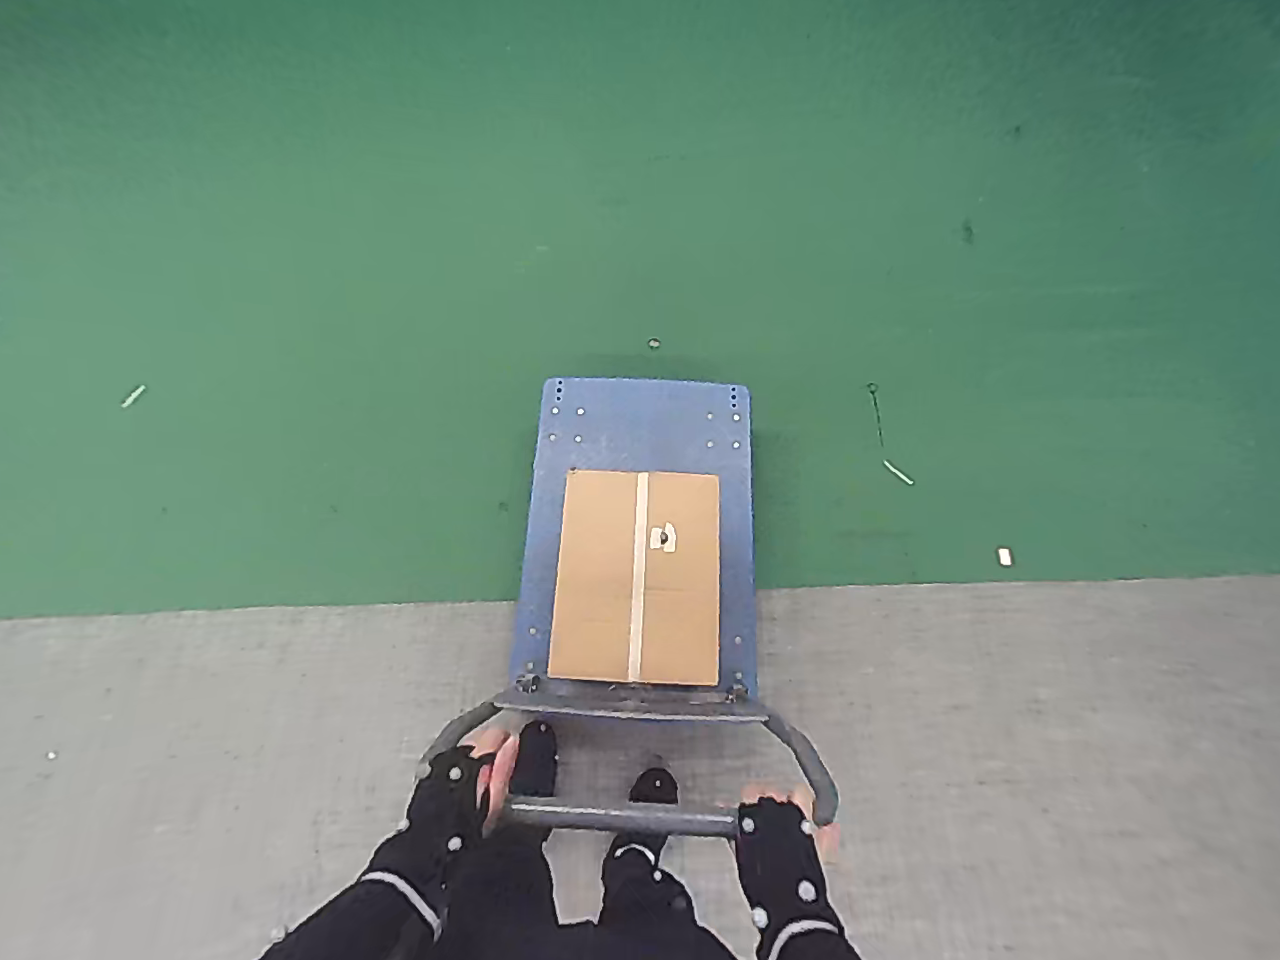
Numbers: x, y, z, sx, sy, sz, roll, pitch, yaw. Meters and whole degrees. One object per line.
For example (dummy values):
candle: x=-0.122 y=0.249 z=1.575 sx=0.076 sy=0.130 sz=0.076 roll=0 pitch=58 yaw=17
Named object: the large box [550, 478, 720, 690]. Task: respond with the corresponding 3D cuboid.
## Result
large box: x=-0.002 y=0.236 z=1.177 sx=0.320 sy=0.320 sz=0.408 roll=2 pitch=71 yaw=1
